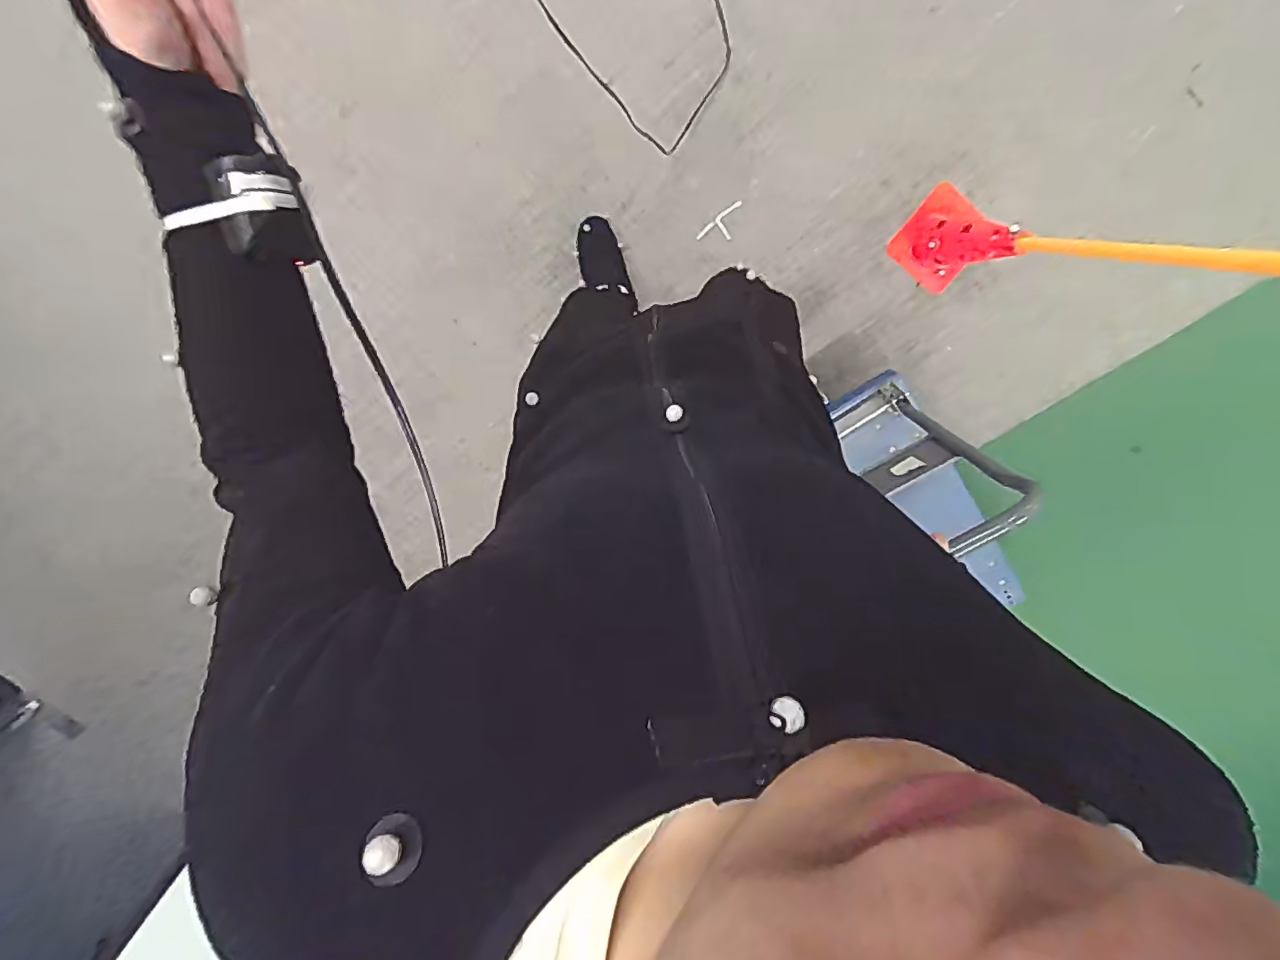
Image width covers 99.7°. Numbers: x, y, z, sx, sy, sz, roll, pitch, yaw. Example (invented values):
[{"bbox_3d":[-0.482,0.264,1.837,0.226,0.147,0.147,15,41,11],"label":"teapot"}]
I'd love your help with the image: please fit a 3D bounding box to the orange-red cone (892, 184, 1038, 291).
[{"bbox_3d":[0.764,-0.540,1.215,0.198,0.360,0.199,35,110,-14],"label":"orange-red cone"}]
